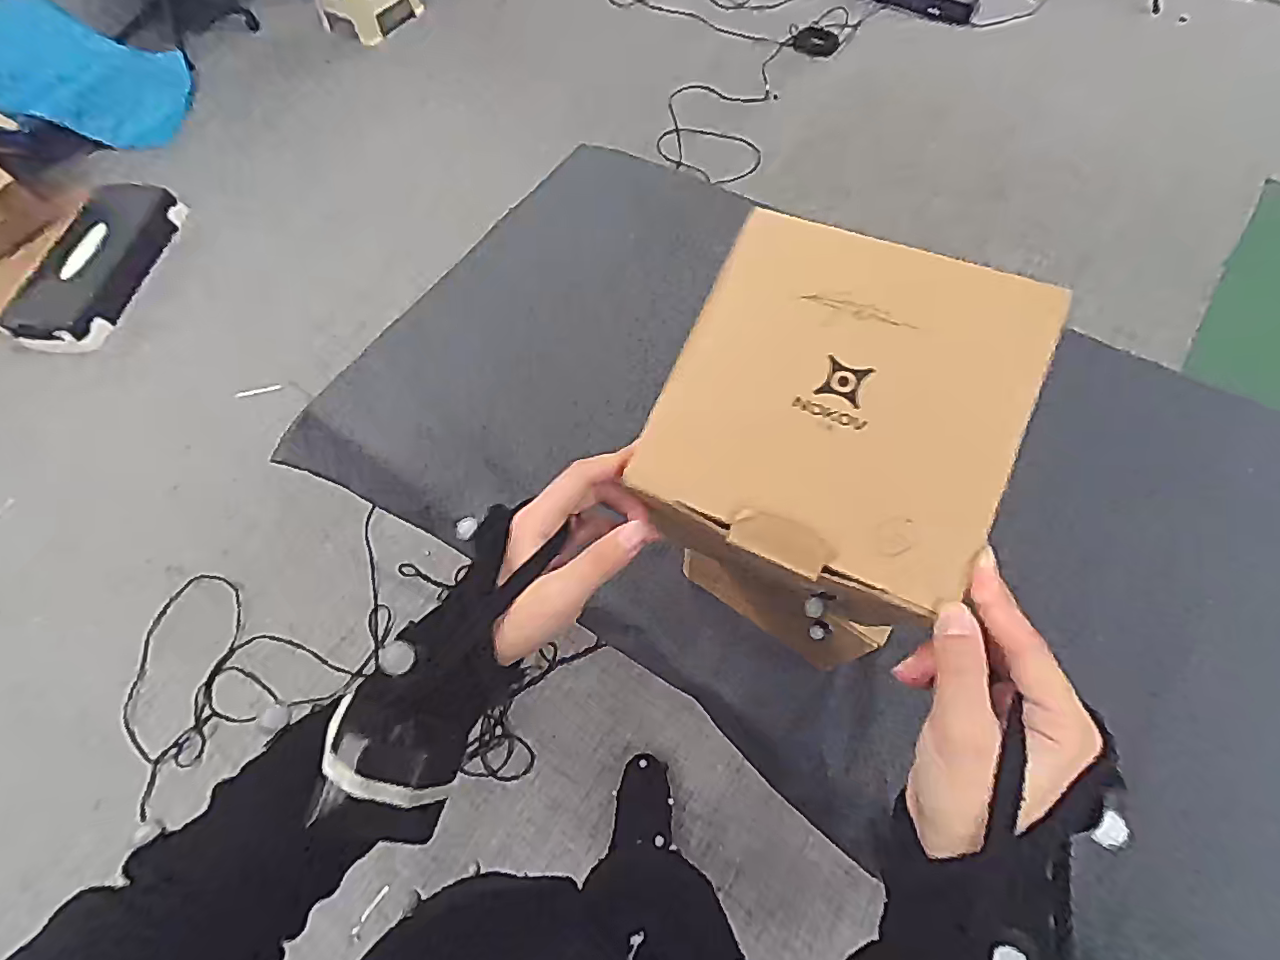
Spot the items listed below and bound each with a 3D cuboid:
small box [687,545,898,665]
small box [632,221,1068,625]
[{"bbox_3d":[0.156,0.055,0.513,0.179,0.176,0.168,33,70,17],"label":"small box"},{"bbox_3d":[0.116,-0.020,0.347,0.168,0.176,0.179,23,78,15],"label":"small box"}]
